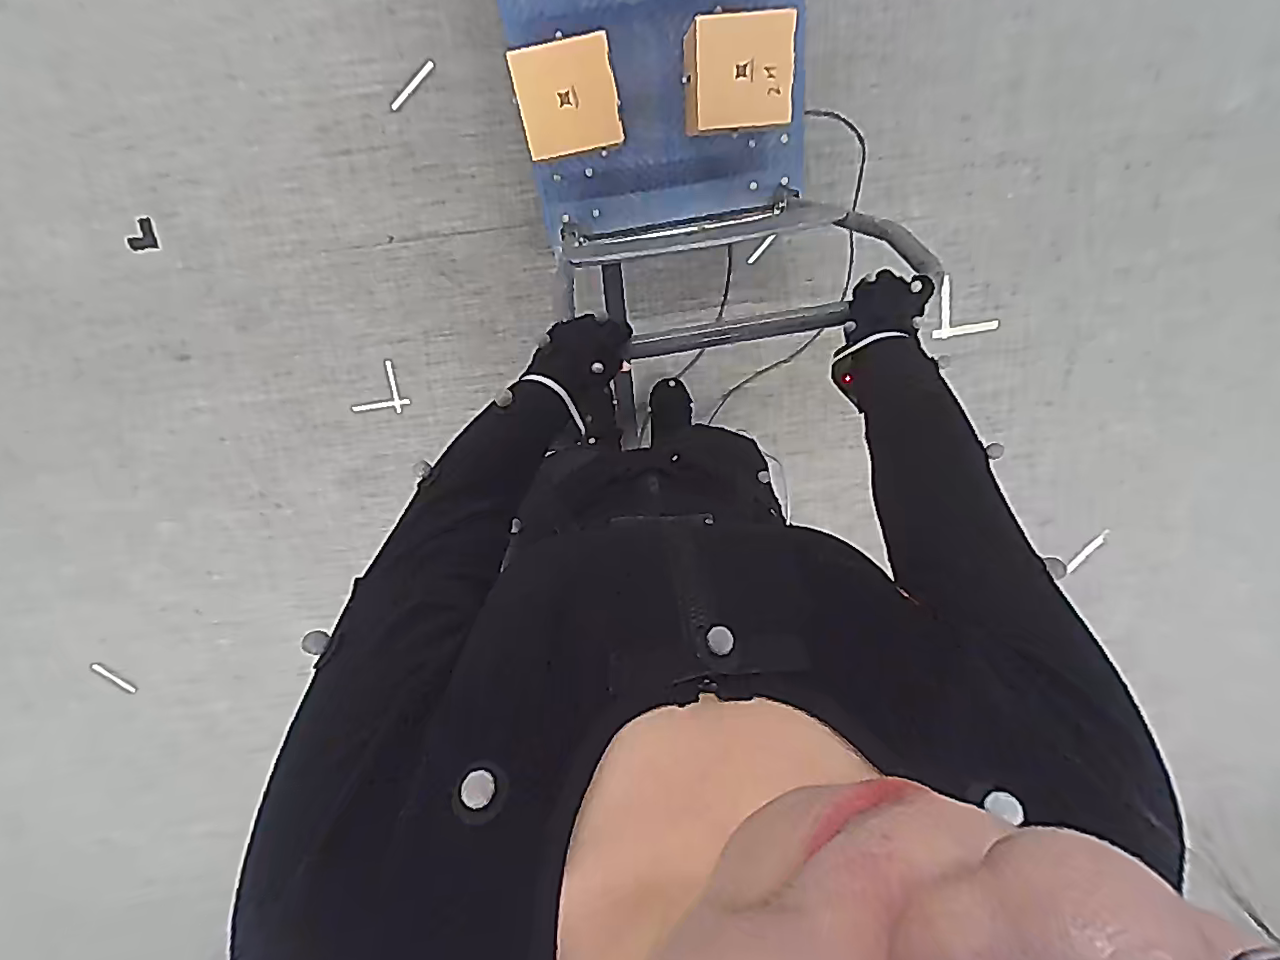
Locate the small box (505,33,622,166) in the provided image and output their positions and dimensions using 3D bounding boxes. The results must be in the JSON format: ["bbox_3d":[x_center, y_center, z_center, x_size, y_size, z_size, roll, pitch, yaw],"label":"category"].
[{"bbox_3d":[-0.137,-0.705,1.022,0.179,0.176,0.168,-13,118,1],"label":"small box"}]

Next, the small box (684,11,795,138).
[{"bbox_3d":[0.177,-0.754,1.021,0.179,0.176,0.168,-6,119,-2],"label":"small box"}]
